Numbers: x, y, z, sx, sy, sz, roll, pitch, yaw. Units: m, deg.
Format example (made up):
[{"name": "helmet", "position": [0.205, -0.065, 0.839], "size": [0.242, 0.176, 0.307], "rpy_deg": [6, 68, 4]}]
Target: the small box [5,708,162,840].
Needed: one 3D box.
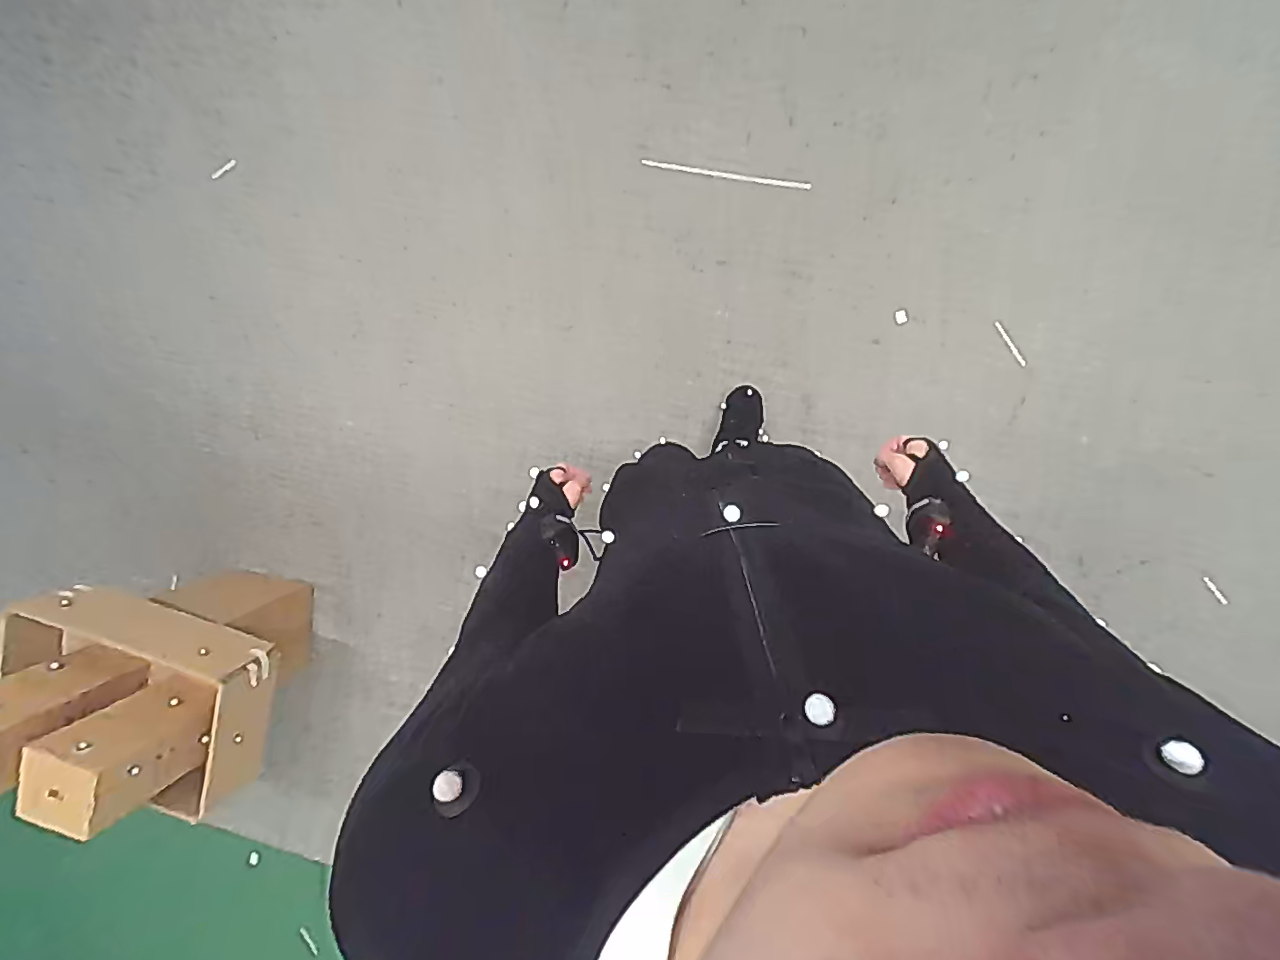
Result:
[{"name": "small box", "position": [-1.208, 0.632, 1.185], "size": [0.179, 0.176, 0.168], "rpy_deg": [16, 97, 5]}]

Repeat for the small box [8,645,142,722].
[{"name": "small box", "position": [-1.431, 0.540, 1.369], "size": [0.179, 0.176, 0.168], "rpy_deg": [15, 98, 3]}]

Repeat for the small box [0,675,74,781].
[{"name": "small box", "position": [-1.445, 0.560, 1.209], "size": [0.179, 0.176, 0.168], "rpy_deg": [15, 97, 3]}]
